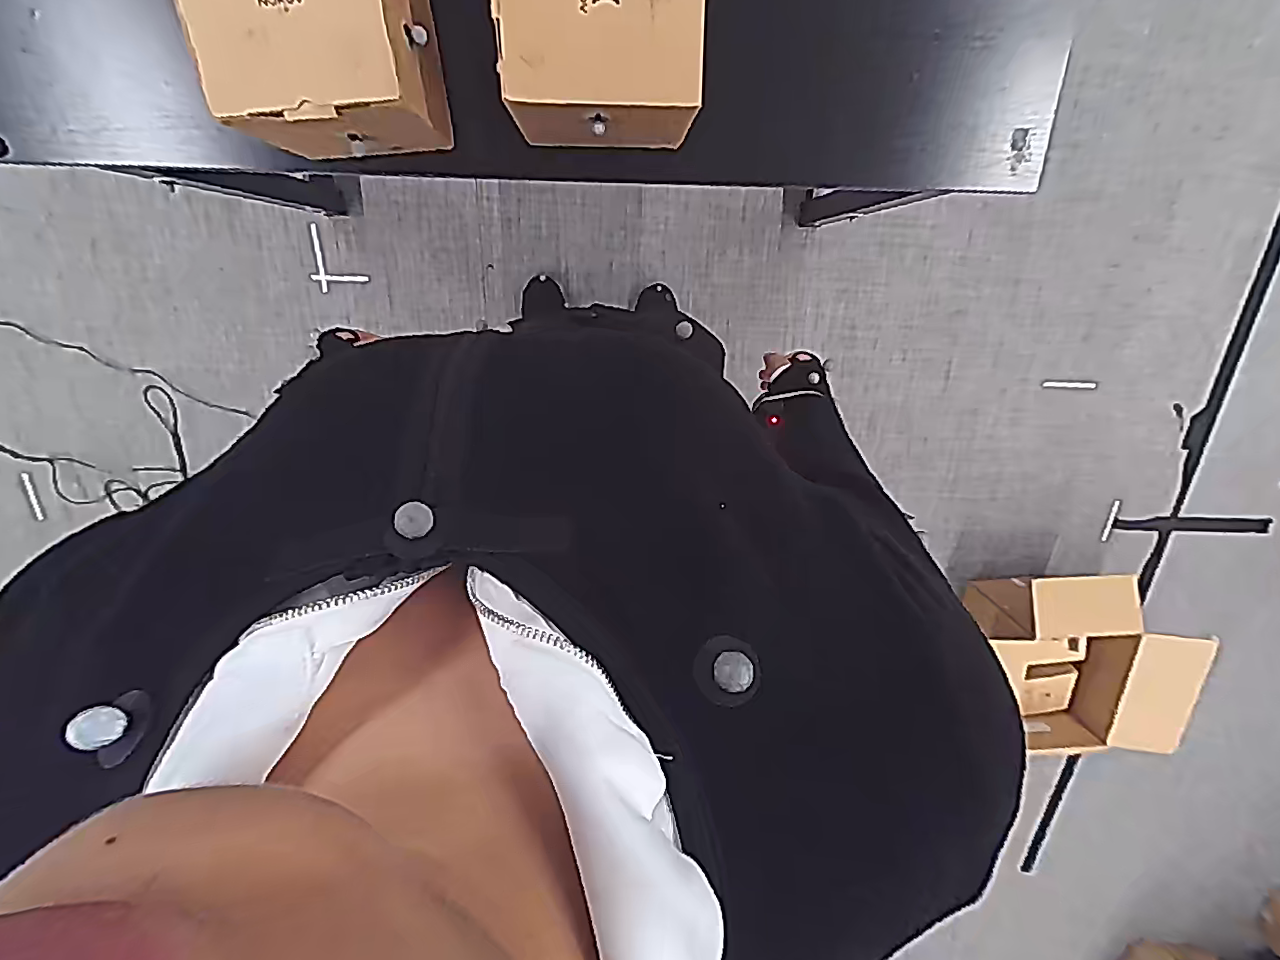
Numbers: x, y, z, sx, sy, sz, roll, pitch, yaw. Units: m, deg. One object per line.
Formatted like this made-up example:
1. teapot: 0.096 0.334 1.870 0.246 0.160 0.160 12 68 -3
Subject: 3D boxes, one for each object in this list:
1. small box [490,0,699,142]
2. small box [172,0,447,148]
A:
1. small box: -0.040 -0.437 0.518 0.179 0.176 0.168 -1 111 -3
2. small box: -0.297 -0.427 0.506 0.168 0.176 0.179 -5 111 -1
